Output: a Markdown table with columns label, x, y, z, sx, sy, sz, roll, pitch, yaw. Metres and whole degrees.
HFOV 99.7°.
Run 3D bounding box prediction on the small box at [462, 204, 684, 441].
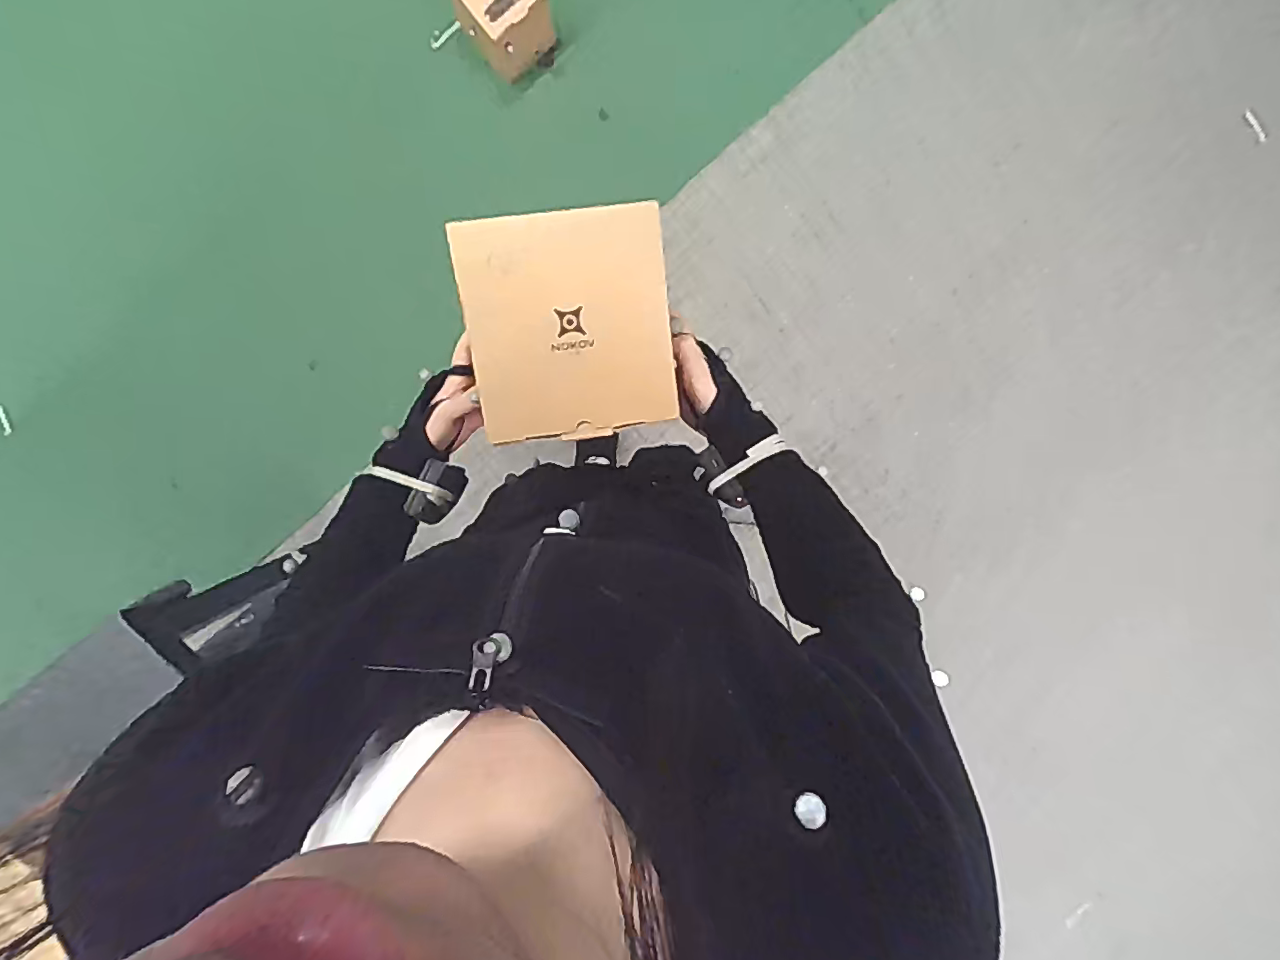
| label | x | y | z | sx | sy | sz | roll | pitch | yaw |
| --- | --- | --- | --- | --- | --- | --- | --- | --- | --- |
| small box | -0.059 | -0.147 | 0.521 | 0.168 | 0.176 | 0.179 | -8 | 107 | -4 |
